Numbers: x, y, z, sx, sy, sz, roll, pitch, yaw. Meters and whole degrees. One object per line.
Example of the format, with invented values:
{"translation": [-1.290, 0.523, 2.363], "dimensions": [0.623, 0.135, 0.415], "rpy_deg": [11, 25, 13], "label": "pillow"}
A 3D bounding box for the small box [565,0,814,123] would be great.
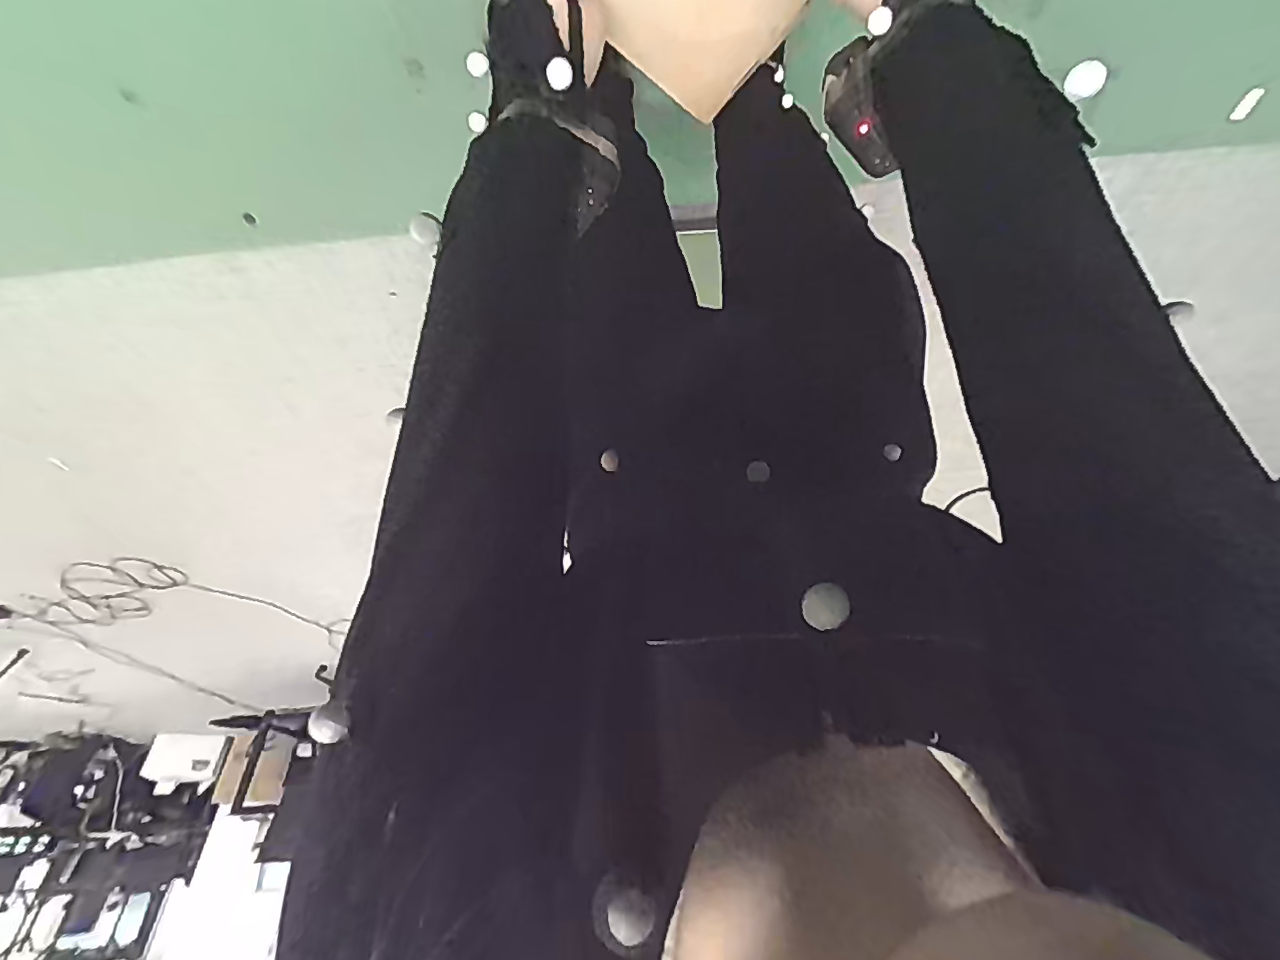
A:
{"translation": [0.038, -0.428, 0.398], "dimensions": [0.179, 0.176, 0.168], "rpy_deg": [19, 144, -33], "label": "small box"}
